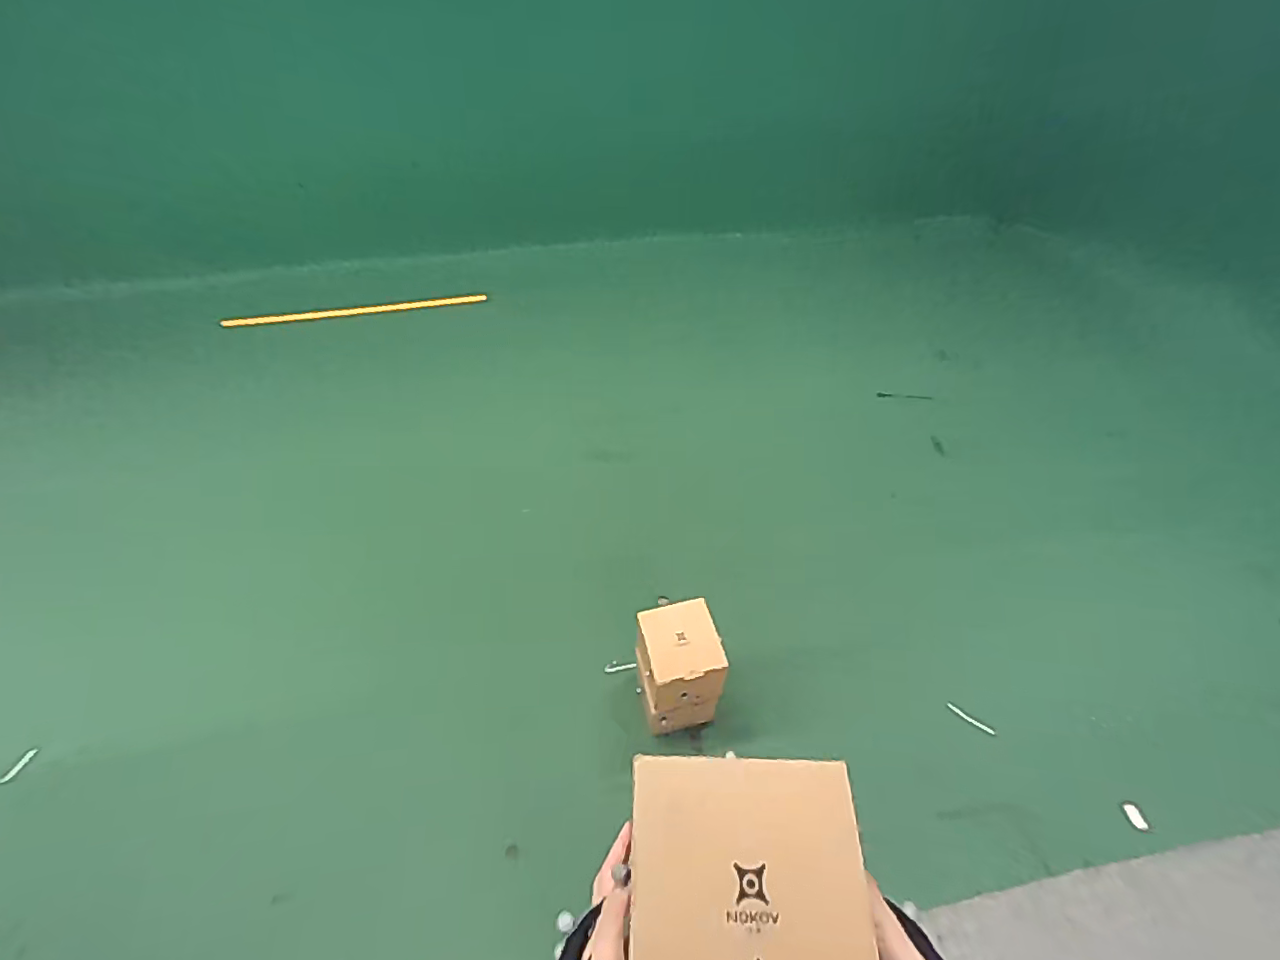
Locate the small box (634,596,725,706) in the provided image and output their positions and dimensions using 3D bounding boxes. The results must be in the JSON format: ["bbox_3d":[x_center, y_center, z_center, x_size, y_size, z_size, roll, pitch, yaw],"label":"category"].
[{"bbox_3d":[0.084,0.404,1.274,0.168,0.176,0.179,-11,50,-10],"label":"small box"}]

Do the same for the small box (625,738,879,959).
[{"bbox_3d":[0.075,0.324,0.440,0.168,0.176,0.179,2,56,1],"label":"small box"}]
